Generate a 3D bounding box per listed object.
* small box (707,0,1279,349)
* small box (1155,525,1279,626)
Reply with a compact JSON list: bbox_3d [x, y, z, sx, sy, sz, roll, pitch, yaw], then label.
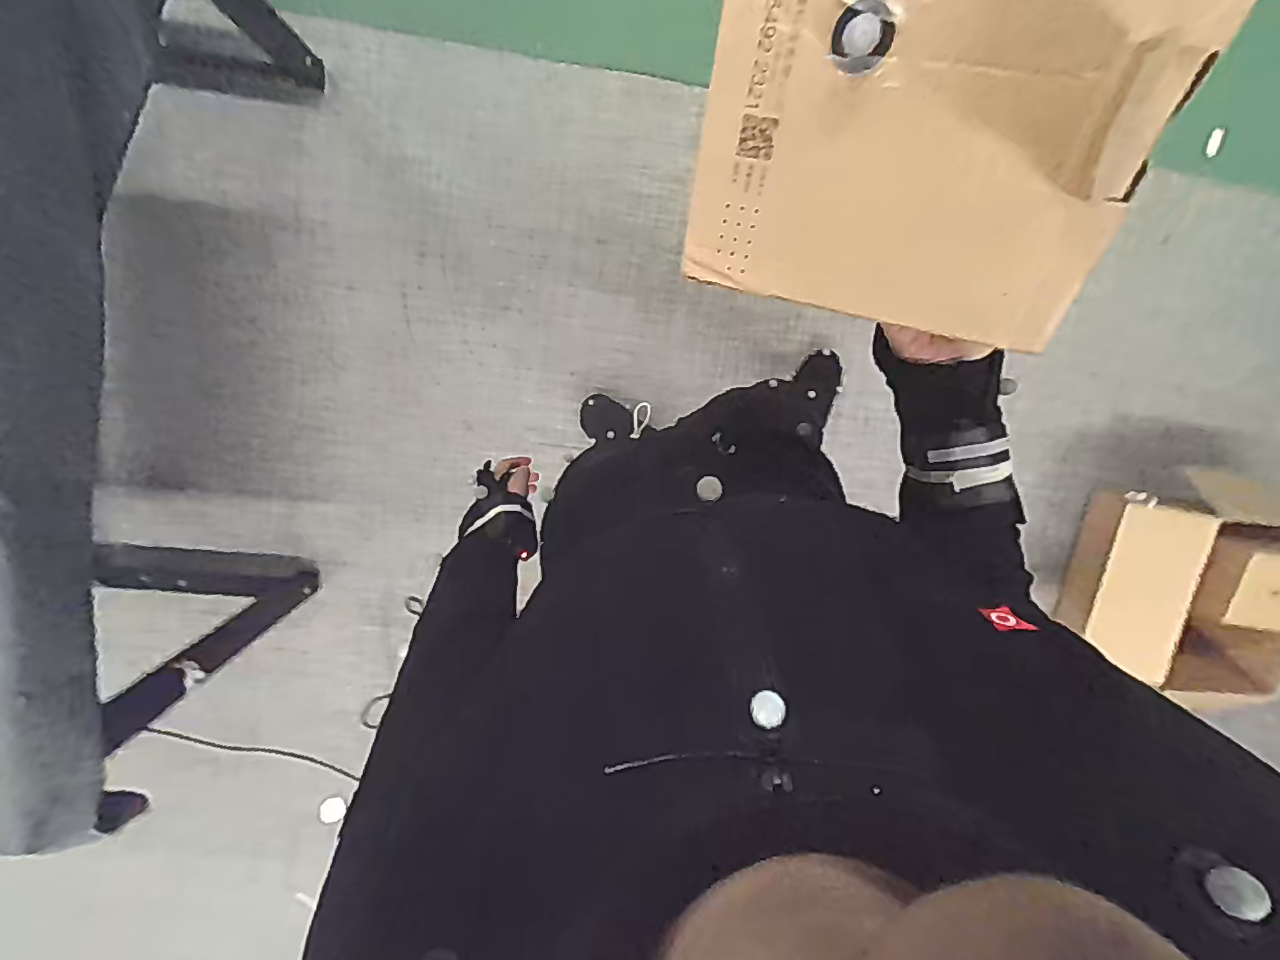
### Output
[{"bbox_3d":[0.143,-0.187,0.263,0.176,0.179,0.168,17,126,10],"label":"small box"},{"bbox_3d":[1.345,0.211,1.222,0.179,0.176,0.168,9,102,-3],"label":"small box"}]
